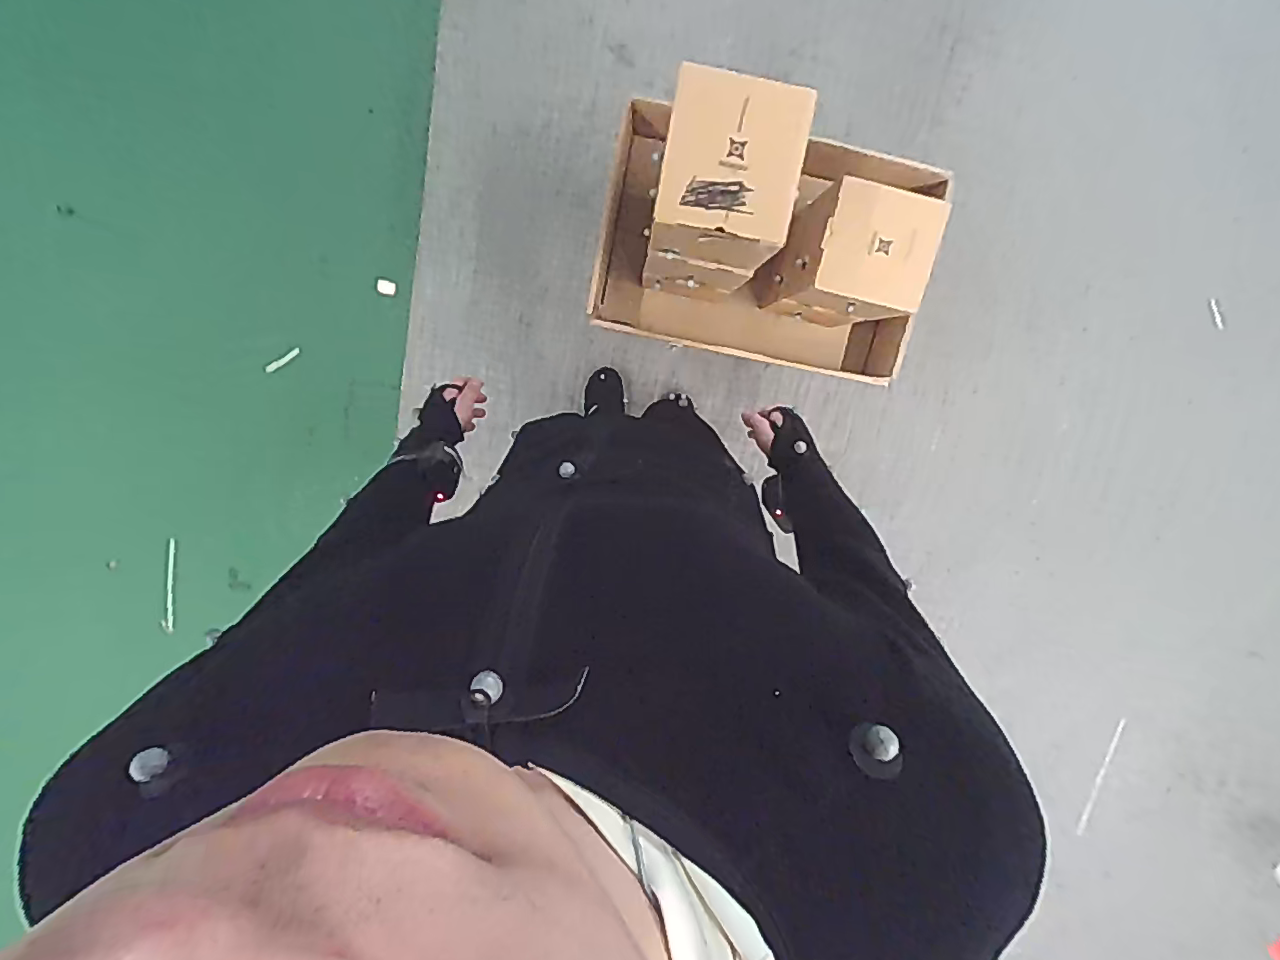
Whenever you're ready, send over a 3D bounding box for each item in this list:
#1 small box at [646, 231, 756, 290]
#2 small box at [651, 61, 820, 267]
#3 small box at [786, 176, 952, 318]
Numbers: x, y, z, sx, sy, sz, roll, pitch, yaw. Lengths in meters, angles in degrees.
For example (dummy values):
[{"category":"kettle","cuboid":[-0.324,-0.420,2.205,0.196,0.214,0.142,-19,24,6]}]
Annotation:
[{"category":"small box","cuboid":[0.107,-0.422,0.875,0.168,0.176,0.179,11,101,-4]},{"category":"small box","cuboid":[0.111,-0.395,0.713,0.168,0.176,0.179,10,101,-5]},{"category":"small box","cuboid":[0.363,-0.371,0.897,0.179,0.176,0.168,13,103,-5]}]
